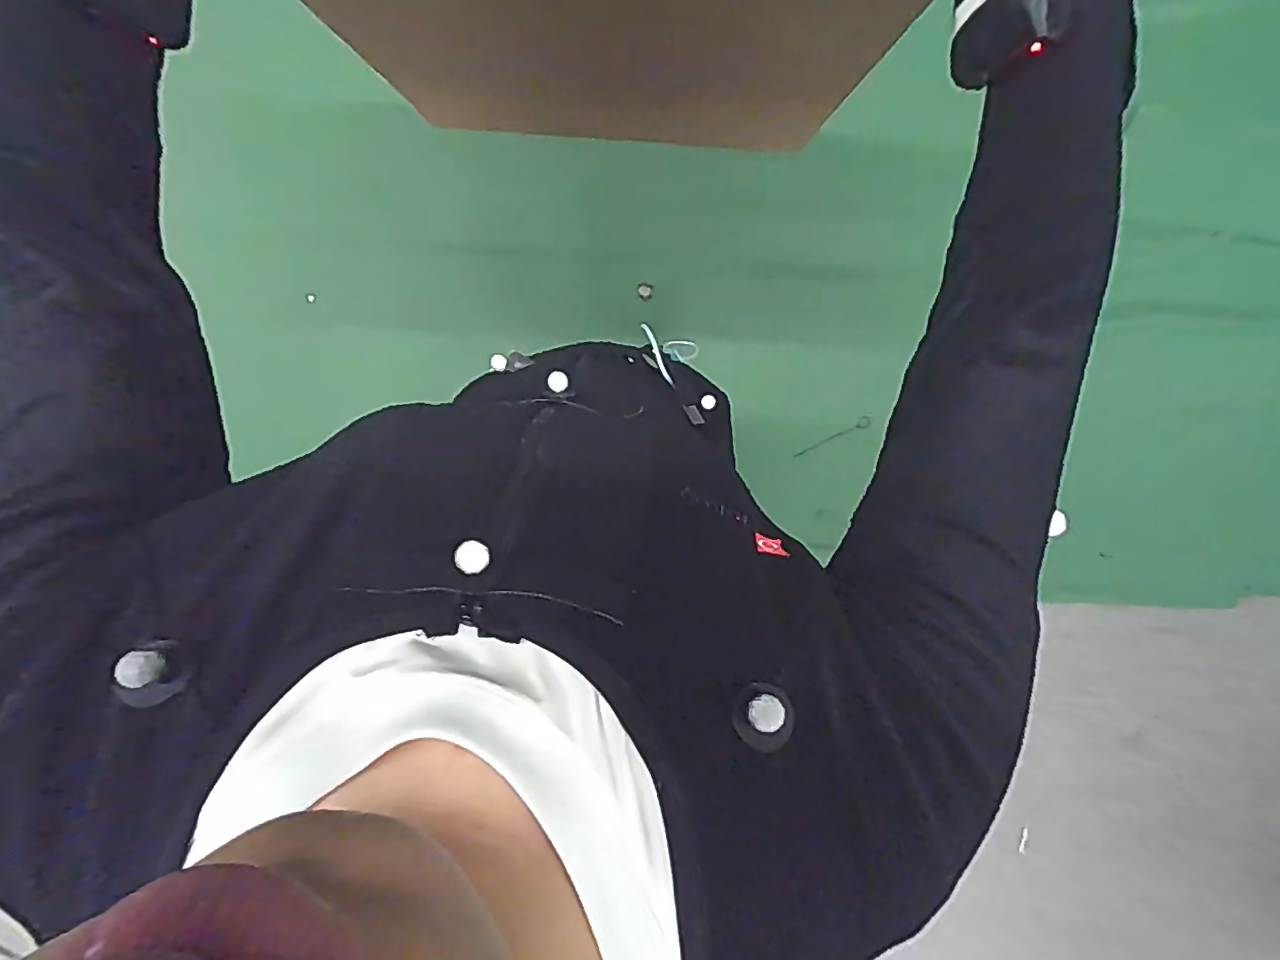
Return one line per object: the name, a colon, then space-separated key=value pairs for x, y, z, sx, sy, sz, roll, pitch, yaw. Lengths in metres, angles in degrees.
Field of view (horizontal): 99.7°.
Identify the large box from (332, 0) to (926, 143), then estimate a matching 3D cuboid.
large box: x=-0.010 y=-0.481 z=0.407 sx=0.408 sy=0.320 sz=0.320 roll=3 pitch=106 yaw=-2
